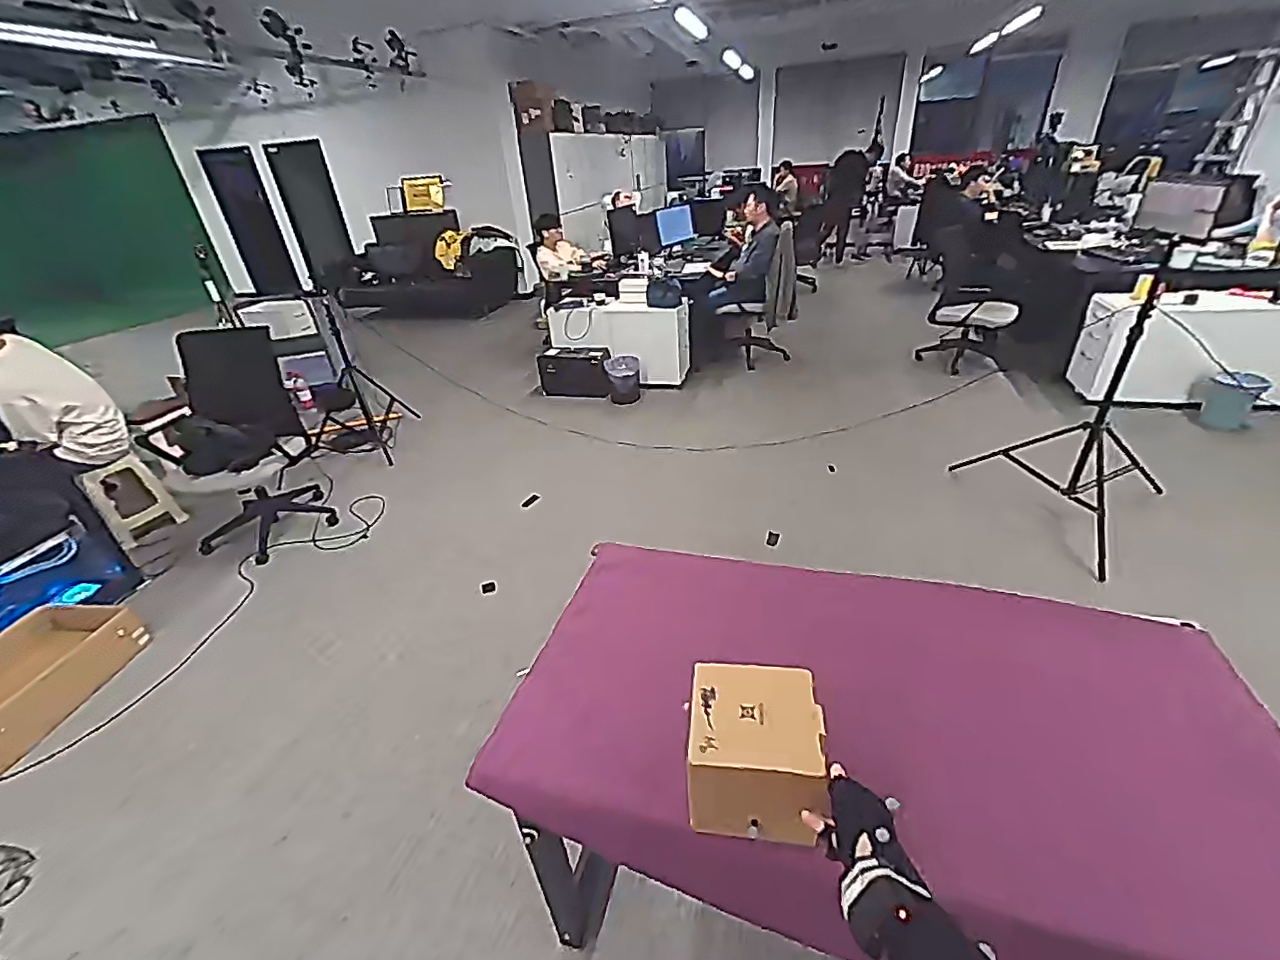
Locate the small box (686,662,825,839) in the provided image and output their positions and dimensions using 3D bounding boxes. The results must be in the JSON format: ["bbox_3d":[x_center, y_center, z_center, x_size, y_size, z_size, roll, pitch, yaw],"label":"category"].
[{"bbox_3d":[0.164,0.393,0.792,0.179,0.176,0.168,0,31,10],"label":"small box"}]
